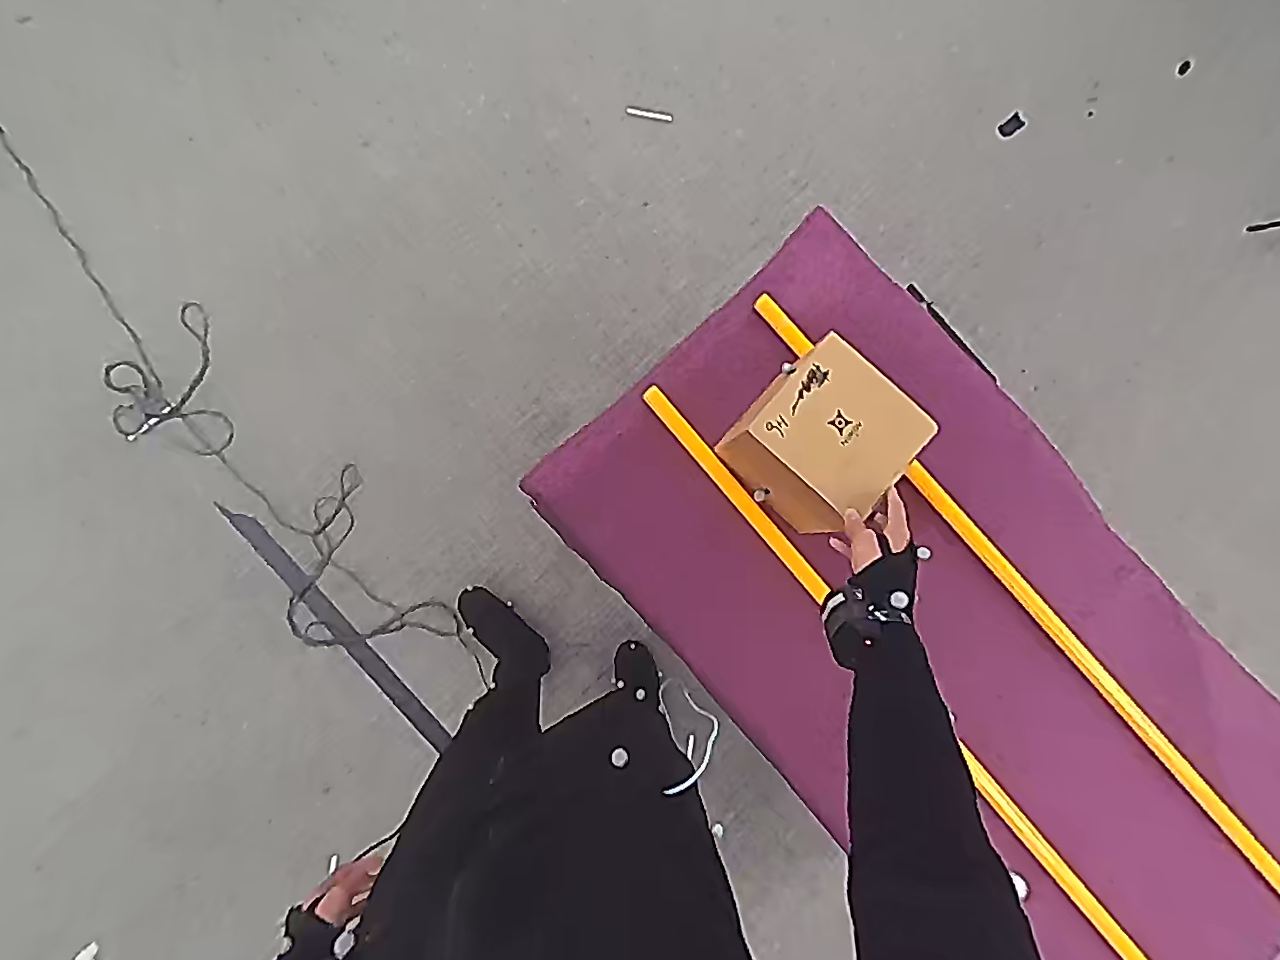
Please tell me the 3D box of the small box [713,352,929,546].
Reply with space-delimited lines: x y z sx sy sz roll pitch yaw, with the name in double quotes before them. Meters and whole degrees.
"small box" 0.225 -0.033 0.716 0.179 0.176 0.168 43 81 -1
